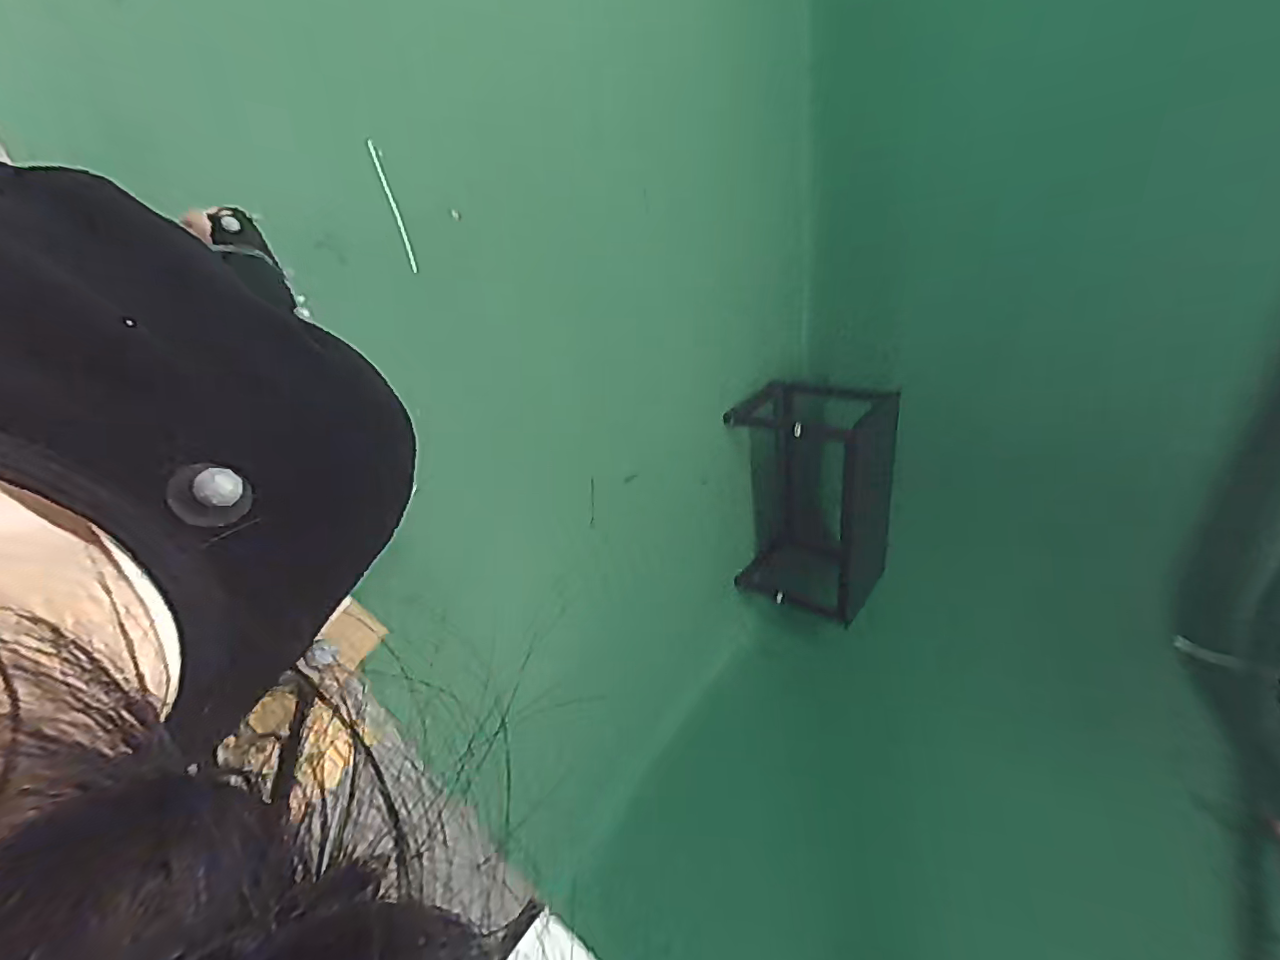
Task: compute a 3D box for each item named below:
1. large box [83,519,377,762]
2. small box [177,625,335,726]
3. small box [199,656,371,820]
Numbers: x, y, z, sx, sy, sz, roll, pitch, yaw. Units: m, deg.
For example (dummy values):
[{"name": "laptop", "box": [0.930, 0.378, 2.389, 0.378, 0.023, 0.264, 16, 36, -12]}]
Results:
[{"name": "large box", "box": [-0.925, 0.362, 1.251, 0.408, 0.320, 0.320, -52, 139, -28]}, {"name": "small box", "box": [-0.760, 0.411, 1.070, 0.168, 0.176, 0.179, -46, 134, -31]}, {"name": "small box", "box": [-0.636, 0.453, 0.973, 0.179, 0.176, 0.168, -45, 134, -32]}]
